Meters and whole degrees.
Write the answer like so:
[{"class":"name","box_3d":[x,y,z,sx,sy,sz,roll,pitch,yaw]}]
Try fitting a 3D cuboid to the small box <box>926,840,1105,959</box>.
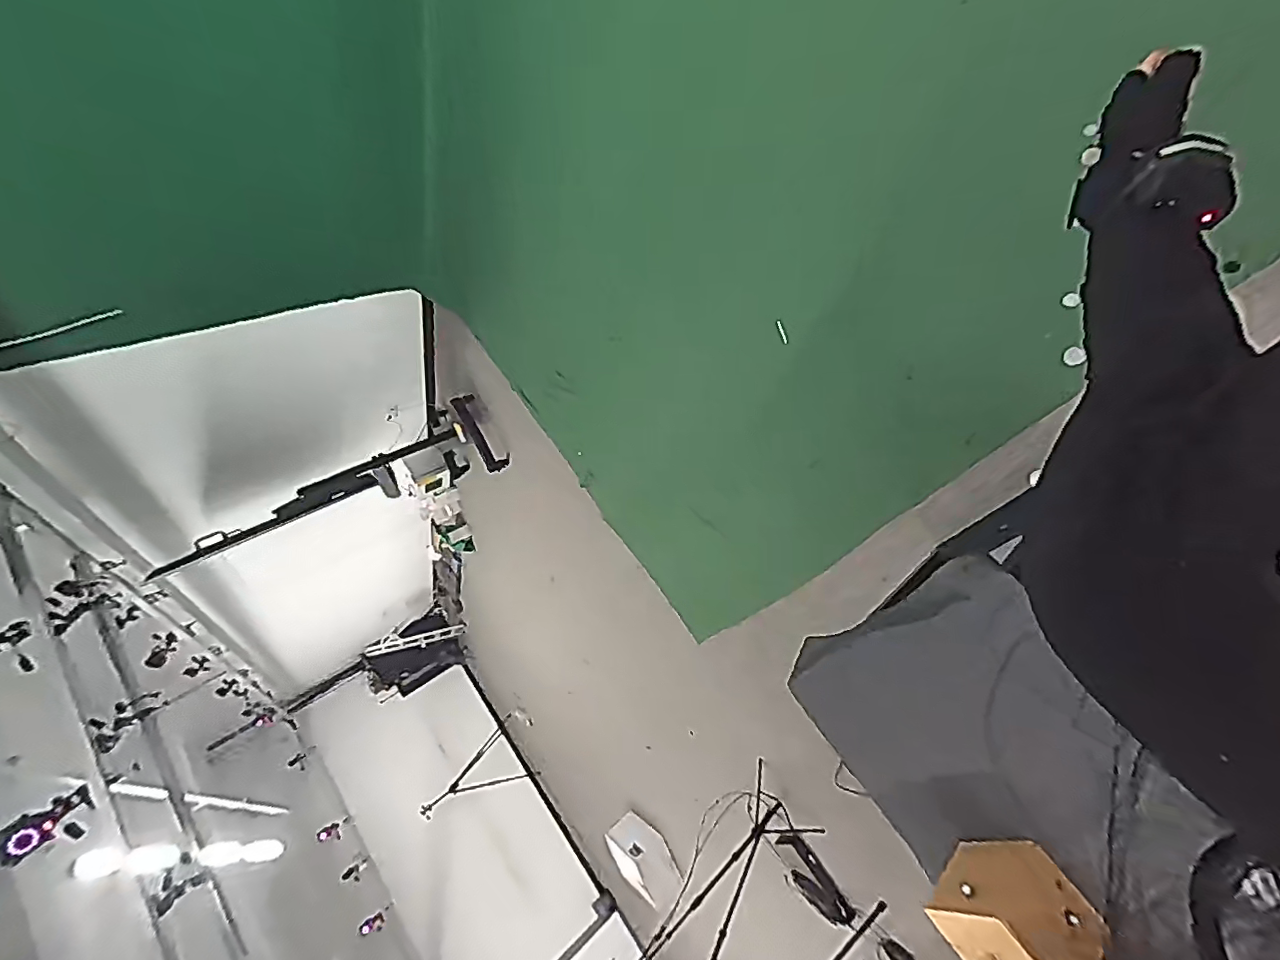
[{"class":"small box","box_3d":[0.662,0.772,0.956,0.168,0.176,0.179,51,145,17]}]
